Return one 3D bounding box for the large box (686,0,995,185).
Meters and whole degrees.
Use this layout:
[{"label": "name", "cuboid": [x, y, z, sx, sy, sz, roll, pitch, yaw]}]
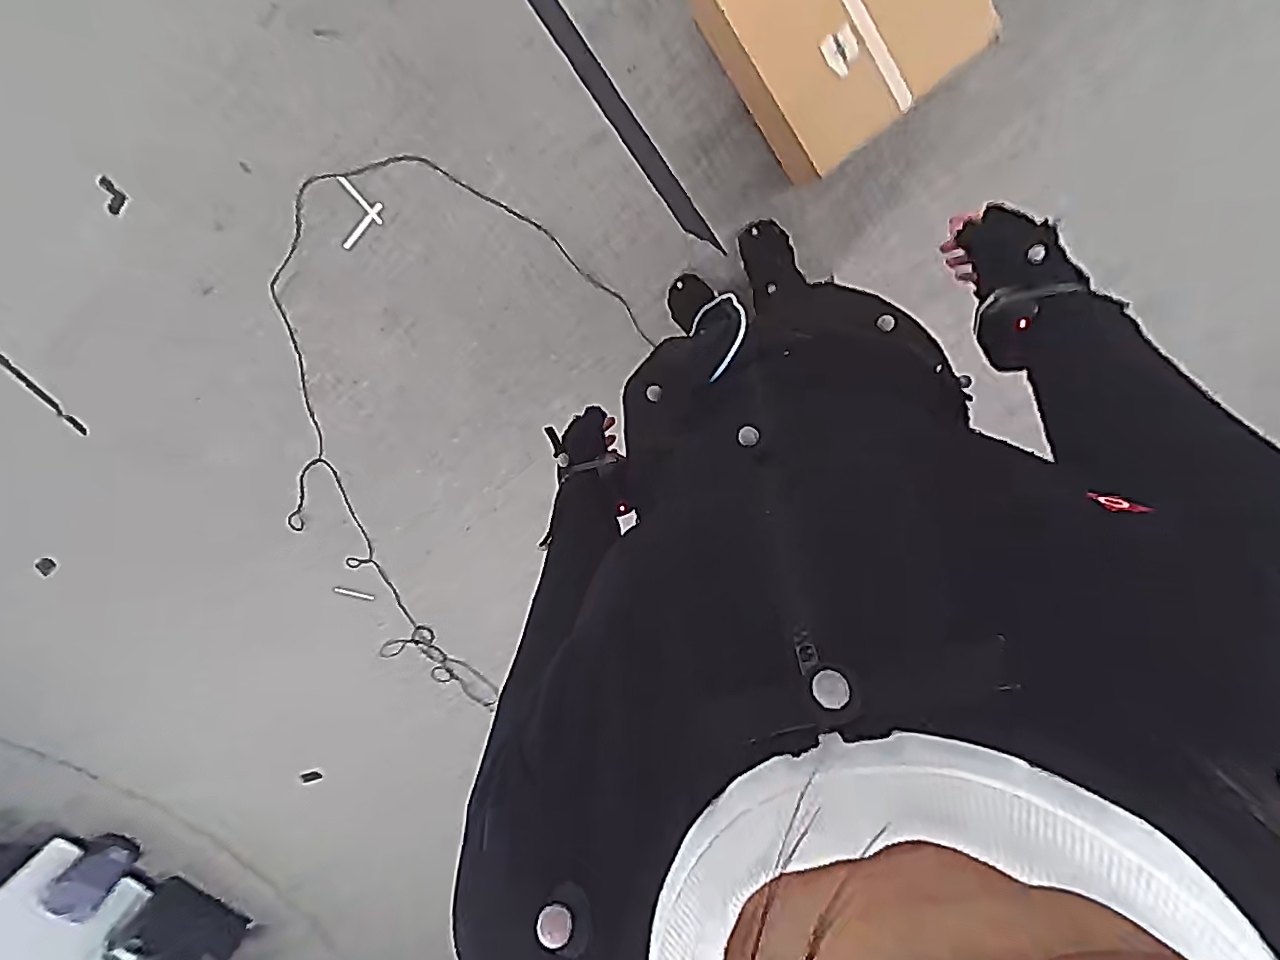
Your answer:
[{"label": "large box", "cuboid": [0.319, -0.808, 0.960, 0.320, 0.320, 0.408, -35, 108, 21]}]
